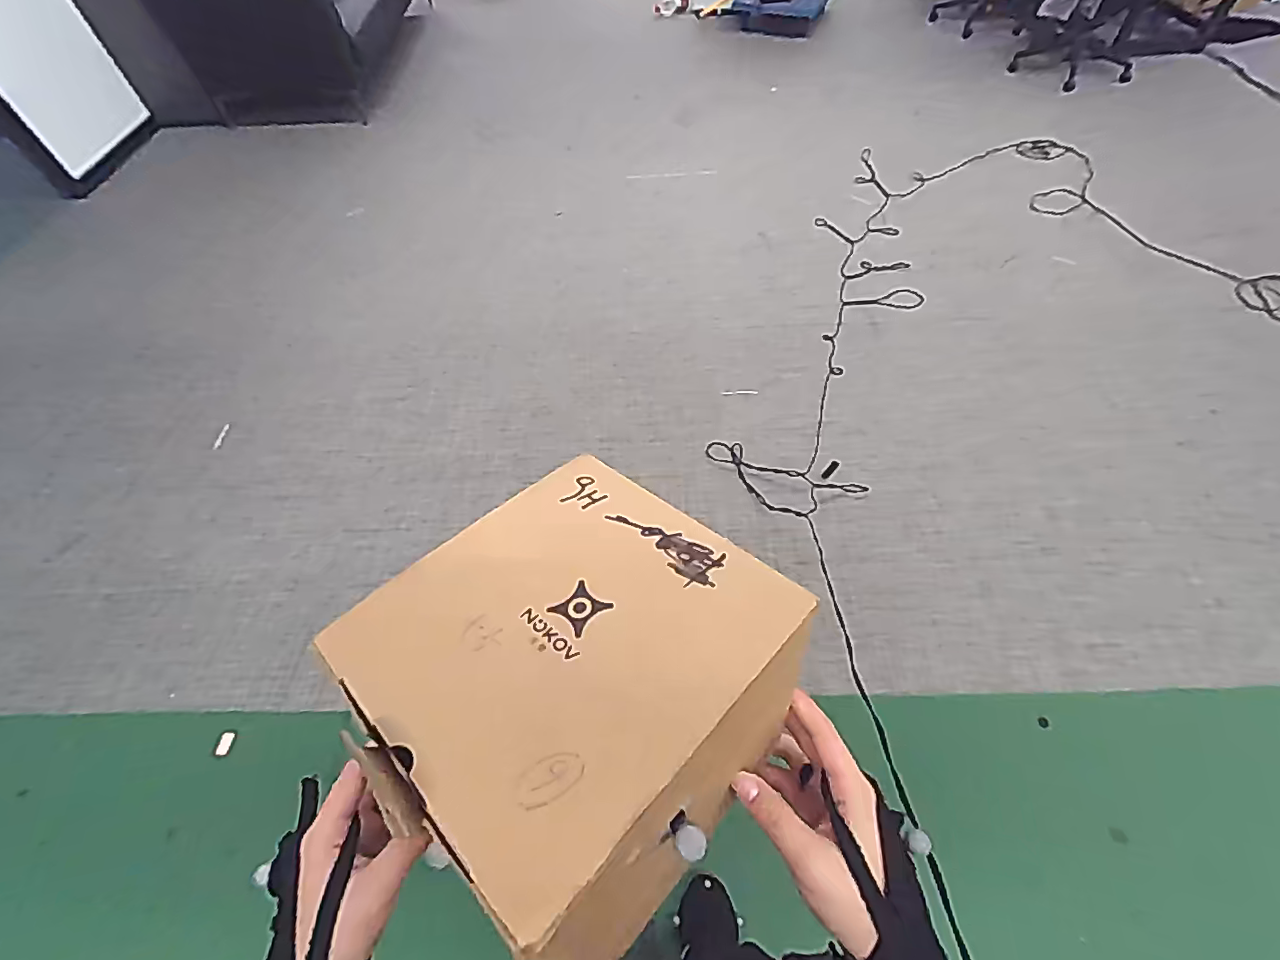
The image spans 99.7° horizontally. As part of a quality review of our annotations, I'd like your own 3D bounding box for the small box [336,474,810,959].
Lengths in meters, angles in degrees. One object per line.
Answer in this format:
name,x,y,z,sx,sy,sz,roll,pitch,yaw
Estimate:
small box,-0.026,0.134,0.314,0.168,0.176,0.179,31,54,32
